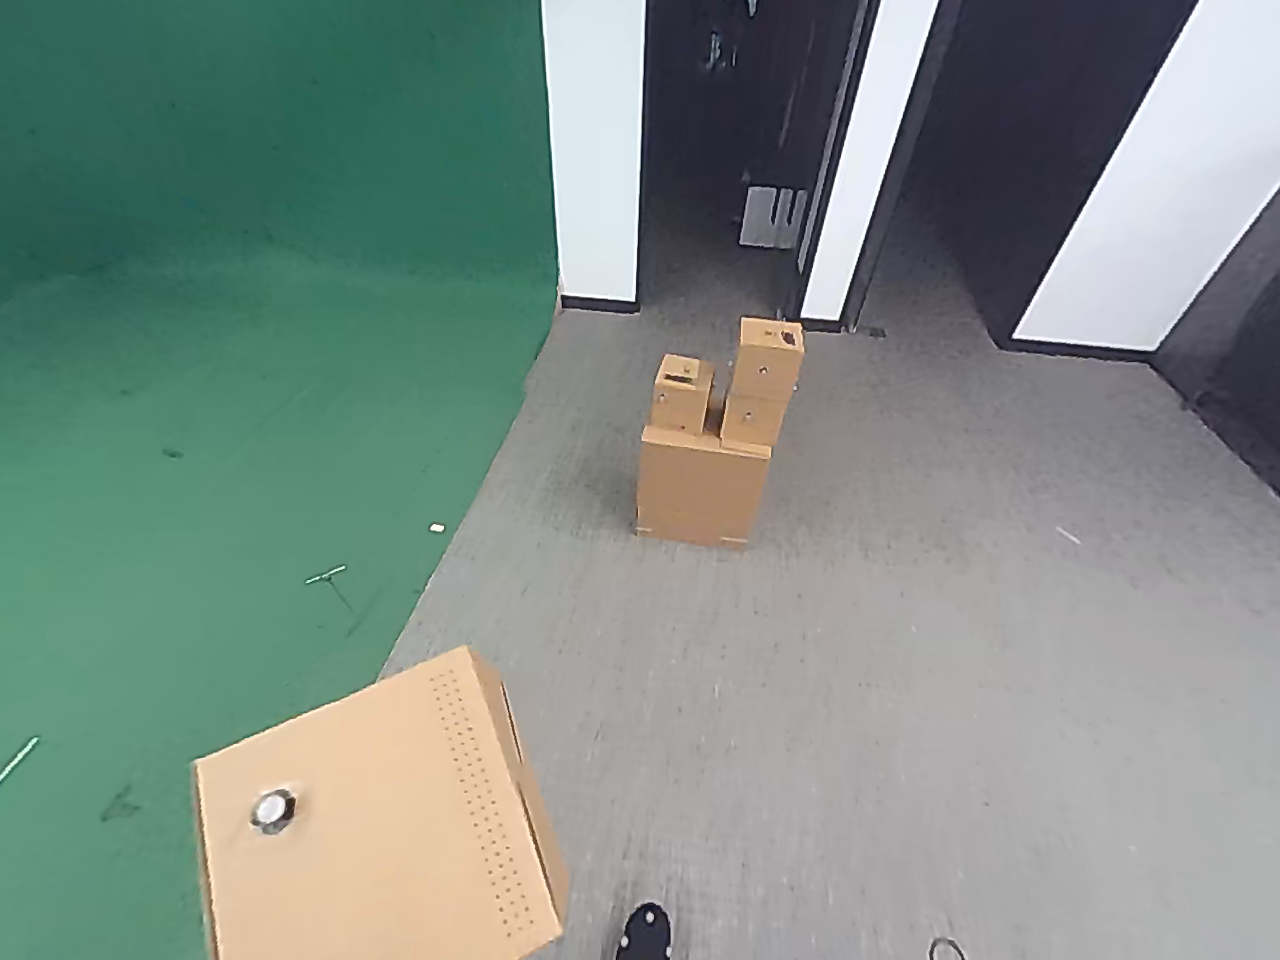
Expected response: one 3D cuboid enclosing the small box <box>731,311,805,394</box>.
[{"bbox_3d":[0.368,-0.366,1.564,0.179,0.176,0.168,8,45,6],"label":"small box"}]
